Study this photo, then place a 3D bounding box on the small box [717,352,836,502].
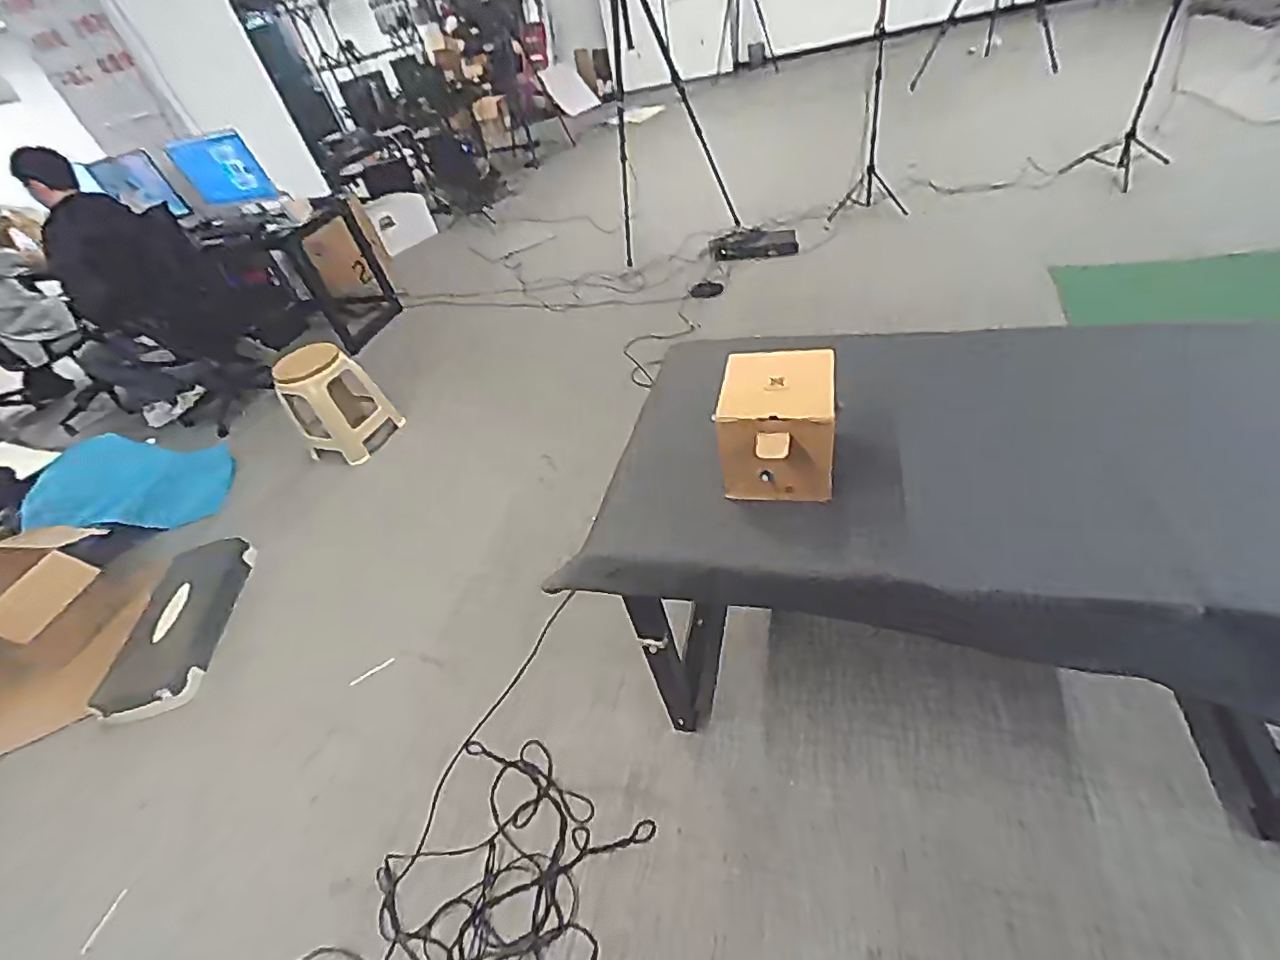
[{"bbox_3d":[0.222,-0.087,0.869,0.168,0.176,0.179,2,45,17],"label":"small box"}]
